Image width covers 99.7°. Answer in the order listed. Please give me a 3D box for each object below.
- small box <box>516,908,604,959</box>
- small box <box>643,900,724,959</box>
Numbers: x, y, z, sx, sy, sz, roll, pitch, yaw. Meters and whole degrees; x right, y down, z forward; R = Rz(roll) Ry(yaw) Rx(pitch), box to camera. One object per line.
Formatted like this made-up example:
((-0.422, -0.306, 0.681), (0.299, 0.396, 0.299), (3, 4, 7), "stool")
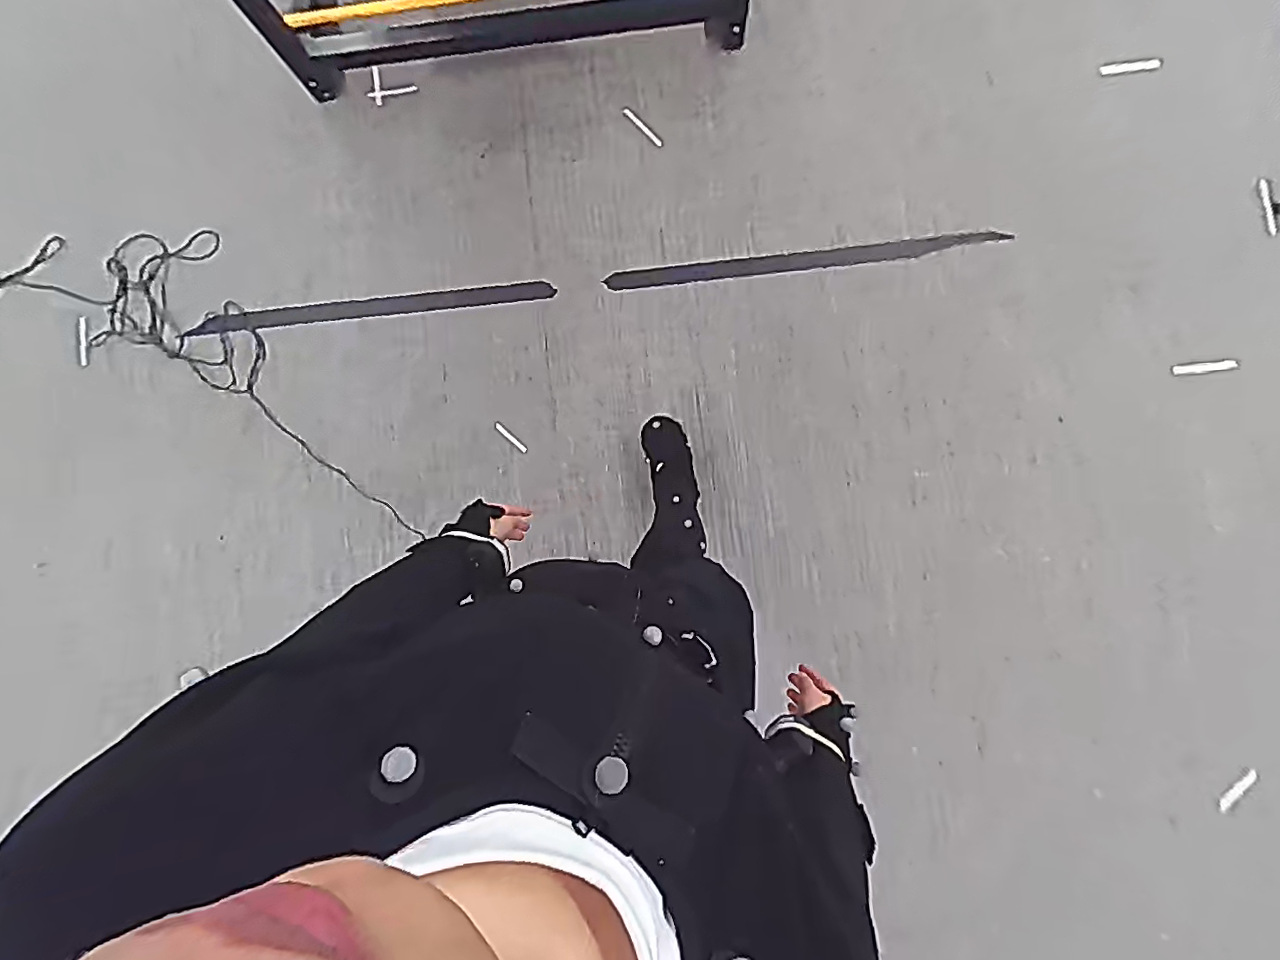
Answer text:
((-0.180, 1.134, 1.249), (0.179, 0.176, 0.168), (-5, 86, 1), "small box")
((0.103, 1.106, 1.238), (0.179, 0.176, 0.168), (-6, 86, 1), "small box")
